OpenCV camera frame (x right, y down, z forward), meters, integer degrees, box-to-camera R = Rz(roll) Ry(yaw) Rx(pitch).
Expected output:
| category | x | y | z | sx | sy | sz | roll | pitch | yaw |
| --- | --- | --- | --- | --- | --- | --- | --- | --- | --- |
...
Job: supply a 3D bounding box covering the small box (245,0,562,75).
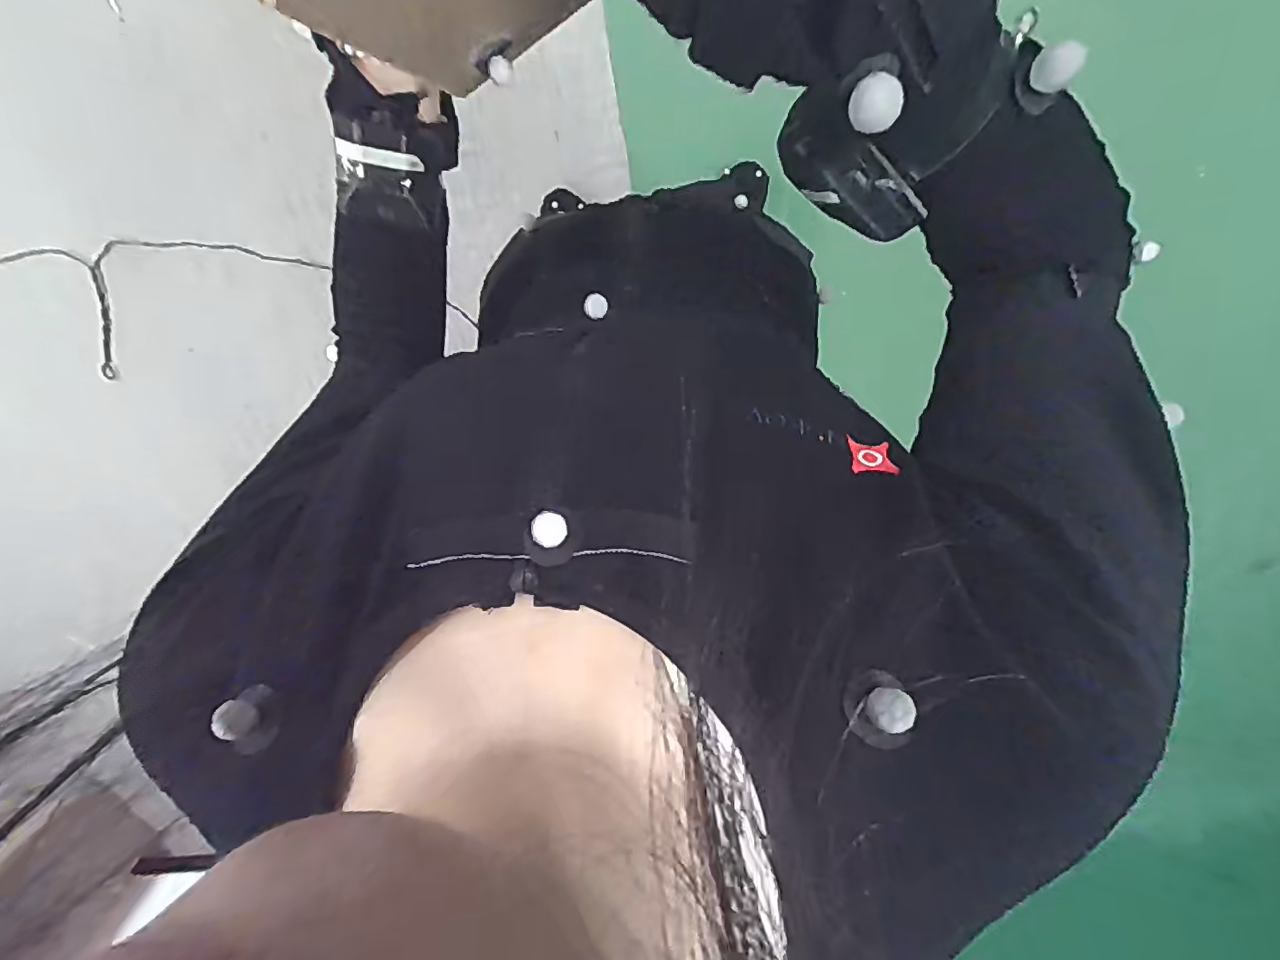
| category | x | y | z | sx | sy | sz | roll | pitch | yaw |
| --- | --- | --- | --- | --- | --- | --- | --- | --- | --- |
| small box | -0.081 | -0.275 | 0.178 | 0.168 | 0.176 | 0.179 | -26 | 112 | 16 |
